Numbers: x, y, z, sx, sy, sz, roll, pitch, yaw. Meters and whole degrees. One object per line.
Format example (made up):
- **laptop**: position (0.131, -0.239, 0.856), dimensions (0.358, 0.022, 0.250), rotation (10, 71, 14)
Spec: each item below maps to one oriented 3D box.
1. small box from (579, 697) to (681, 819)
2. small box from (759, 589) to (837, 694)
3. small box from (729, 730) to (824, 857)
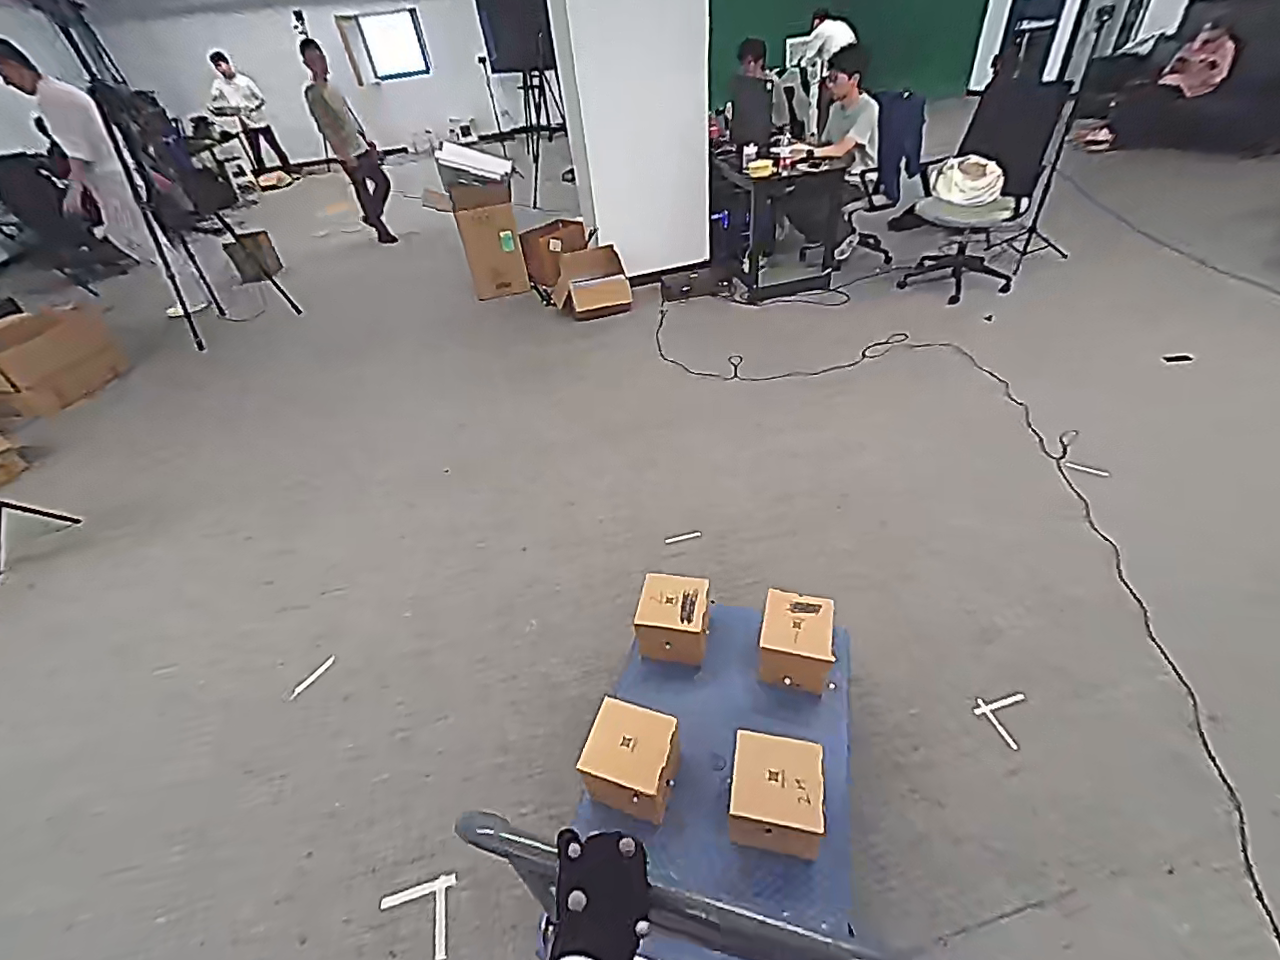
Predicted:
- **small box**: position (-0.014, 0.620, 1.204), dimensions (0.179, 0.176, 0.168), rotation (10, 43, 17)
- **small box**: position (0.399, 0.411, 1.379), dimensions (0.168, 0.176, 0.179), rotation (8, 44, 17)
- **small box**: position (0.283, 0.651, 1.121), dimensions (0.179, 0.176, 0.168), rotation (5, 42, 14)
